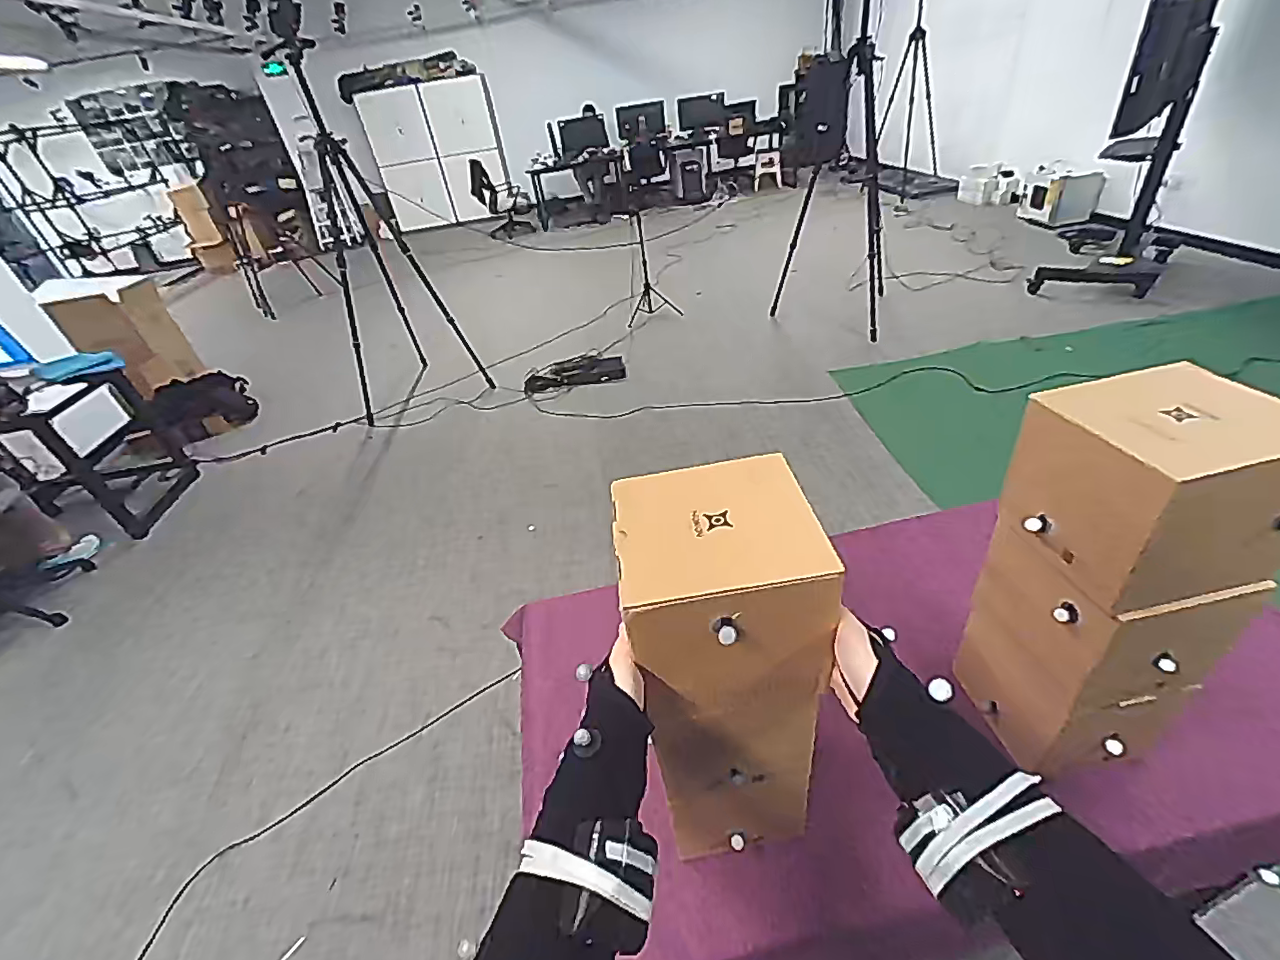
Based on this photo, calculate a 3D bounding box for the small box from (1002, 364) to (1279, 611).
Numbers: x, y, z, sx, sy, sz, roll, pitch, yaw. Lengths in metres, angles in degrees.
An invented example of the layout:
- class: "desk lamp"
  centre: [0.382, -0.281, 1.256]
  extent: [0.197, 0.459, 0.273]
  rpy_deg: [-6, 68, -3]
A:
- class: "small box"
  centre: [0.515, 0.006, 0.548]
  extent: [0.179, 0.176, 0.168]
  rpy_deg: [-12, 35, -2]

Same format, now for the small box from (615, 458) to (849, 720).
- class: "small box"
  centre: [0.078, 0.104, 0.520]
  extent: [0.179, 0.176, 0.168]
  rpy_deg: [-10, 37, 1]

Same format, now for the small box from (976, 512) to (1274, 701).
- class: "small box"
  centre: [0.543, 0.138, 0.641]
  extent: [0.168, 0.176, 0.179]
  rpy_deg: [-11, 36, -2]

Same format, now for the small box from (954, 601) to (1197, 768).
- class: "small box"
  centre: [0.569, 0.268, 0.739]
  extent: [0.168, 0.176, 0.179]
  rpy_deg: [-11, 37, -2]

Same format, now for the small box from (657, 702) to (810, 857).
- class: "small box"
  centre: [0.113, 0.361, 0.721]
  extent: [0.168, 0.176, 0.179]
  rpy_deg: [-11, 37, -1]
